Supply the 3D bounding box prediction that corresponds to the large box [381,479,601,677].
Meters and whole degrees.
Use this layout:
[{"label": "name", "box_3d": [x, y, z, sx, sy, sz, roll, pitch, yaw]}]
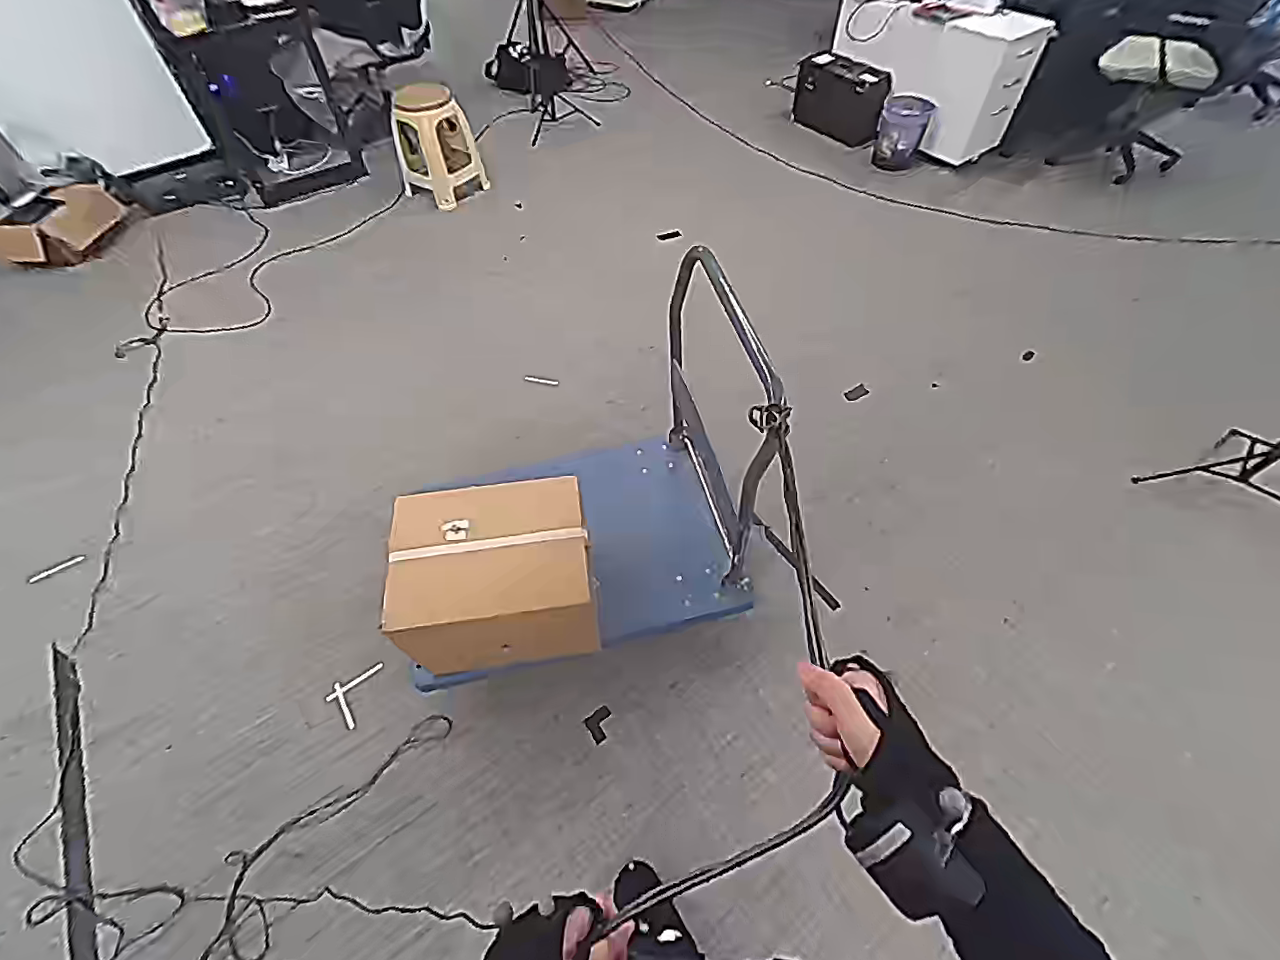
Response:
[{"label": "large box", "box_3d": [-0.316, 0.232, 1.241, 0.408, 0.320, 0.320, -8, 55, -4]}]
